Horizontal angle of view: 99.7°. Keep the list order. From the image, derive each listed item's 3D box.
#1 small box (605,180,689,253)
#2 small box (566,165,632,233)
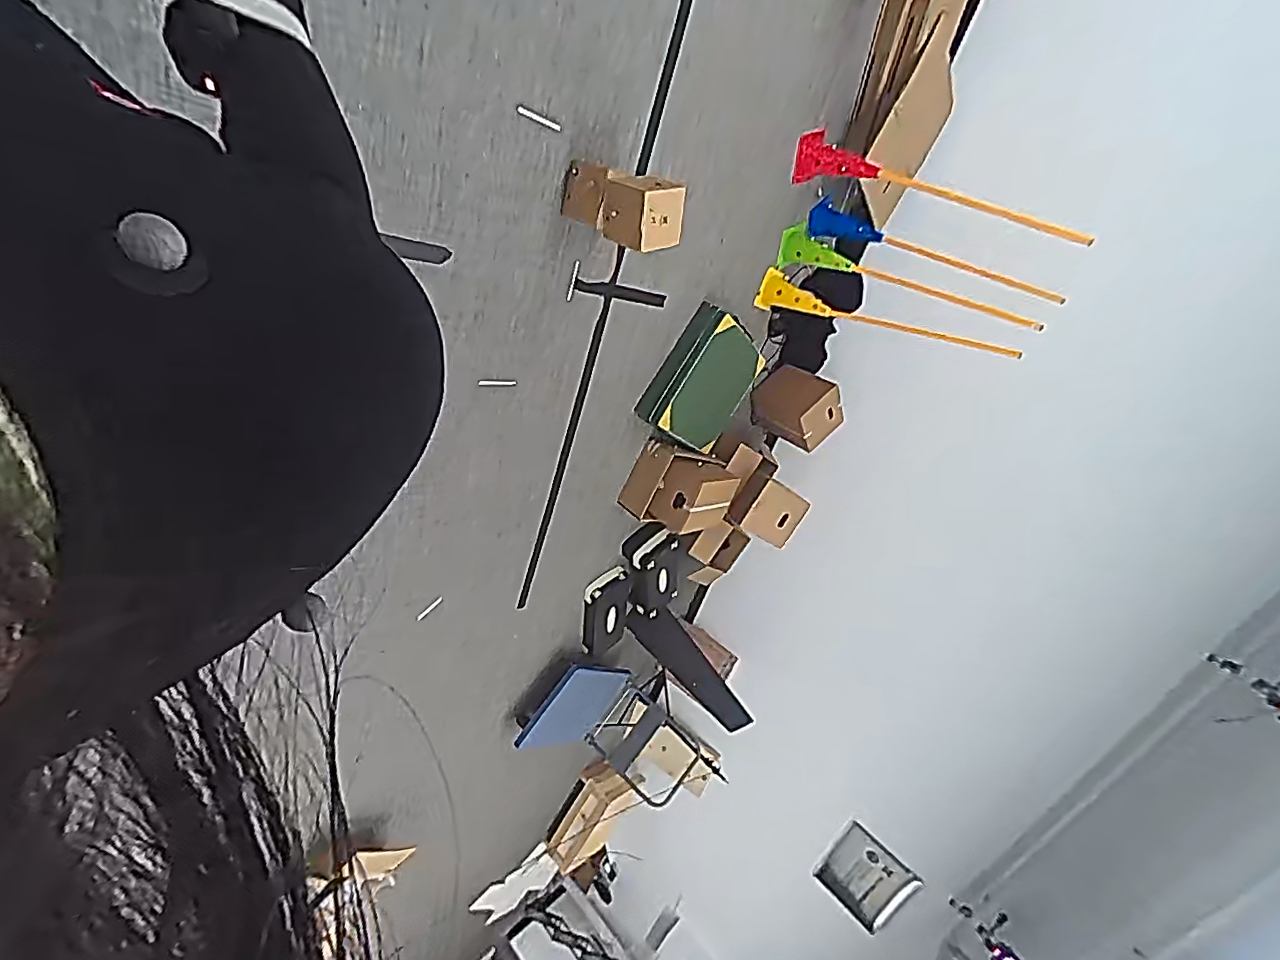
[{"bbox_3d":[0.017,-0.796,1.626,0.179,0.176,0.168,-24,137,-37],"label":"small box"},{"bbox_3d":[-0.106,-0.873,1.704,0.179,0.176,0.168,-14,131,-48],"label":"small box"}]
